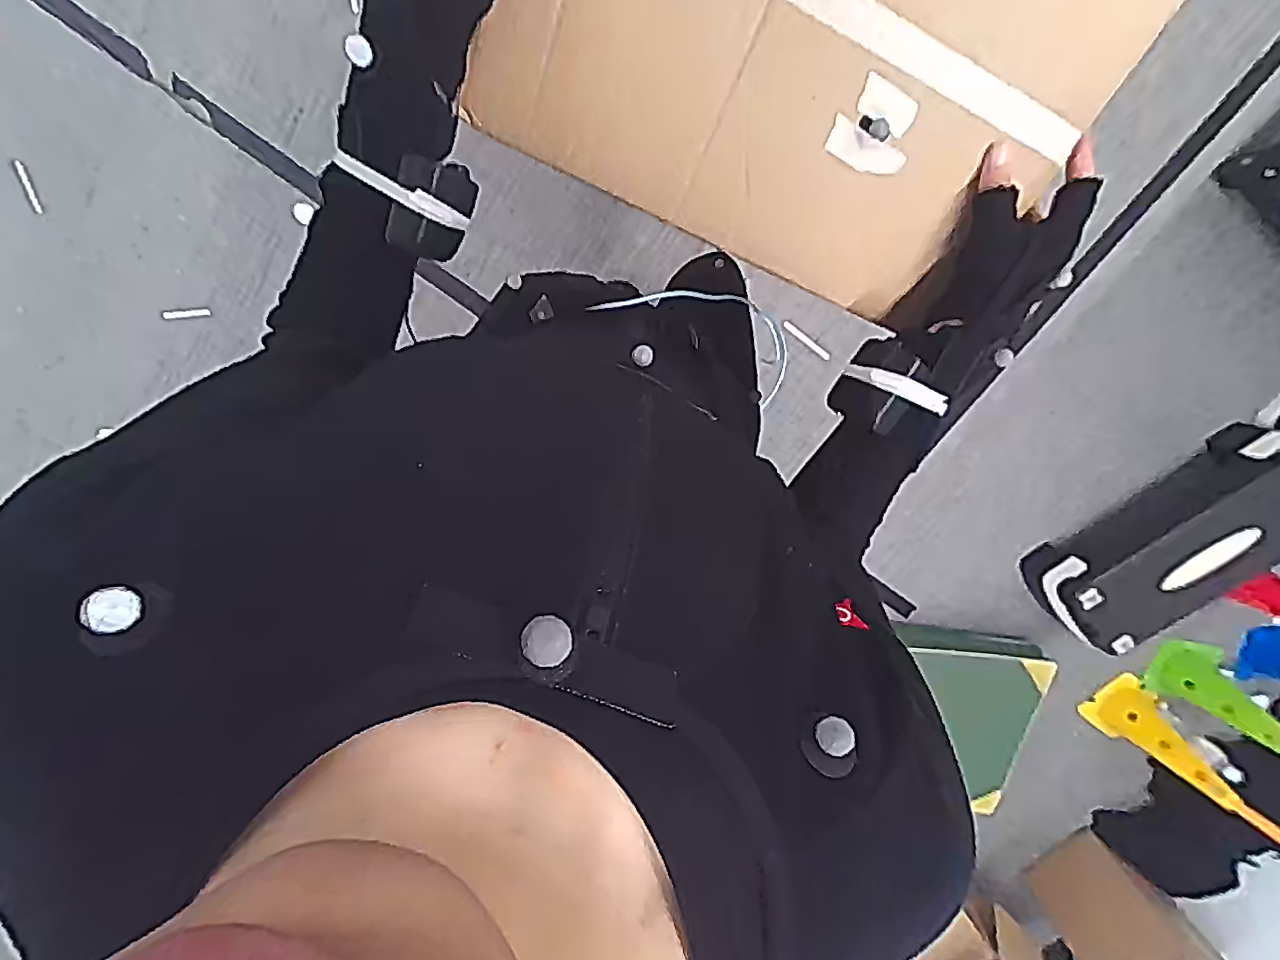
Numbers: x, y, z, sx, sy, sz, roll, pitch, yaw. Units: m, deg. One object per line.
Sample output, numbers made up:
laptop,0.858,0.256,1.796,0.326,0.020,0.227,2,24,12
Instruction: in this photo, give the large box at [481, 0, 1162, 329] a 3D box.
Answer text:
large box,0.120,-0.394,0.479,0.408,0.320,0.320,20,124,-14
